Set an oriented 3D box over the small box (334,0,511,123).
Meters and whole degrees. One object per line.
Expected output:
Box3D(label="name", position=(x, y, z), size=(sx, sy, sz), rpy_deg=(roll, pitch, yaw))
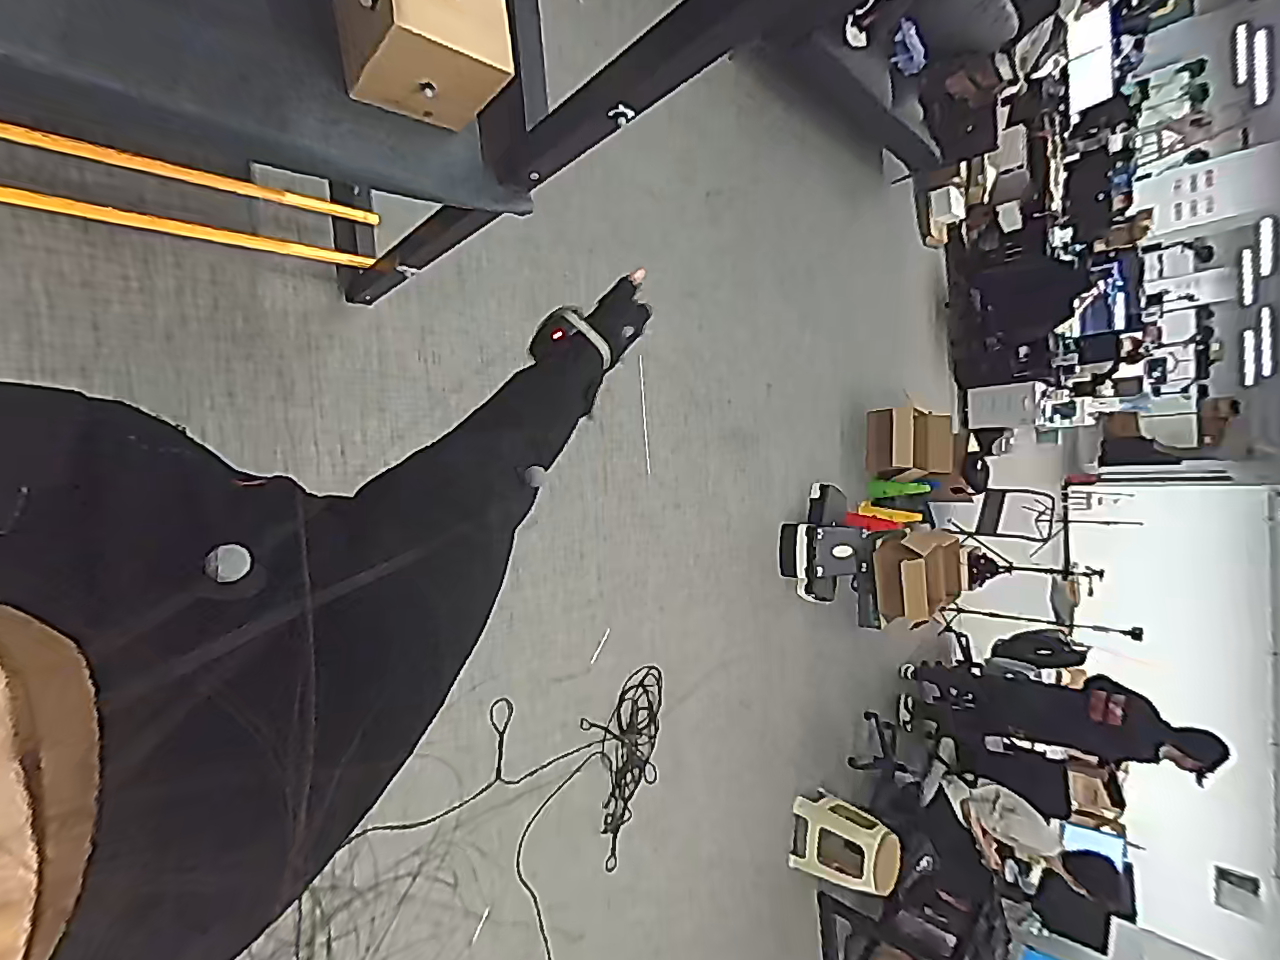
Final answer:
Box3D(label="small box", position=(-0.300, -0.631, 0.737), size=(0.168, 0.176, 0.179), rpy_deg=(-13, 98, -45))
